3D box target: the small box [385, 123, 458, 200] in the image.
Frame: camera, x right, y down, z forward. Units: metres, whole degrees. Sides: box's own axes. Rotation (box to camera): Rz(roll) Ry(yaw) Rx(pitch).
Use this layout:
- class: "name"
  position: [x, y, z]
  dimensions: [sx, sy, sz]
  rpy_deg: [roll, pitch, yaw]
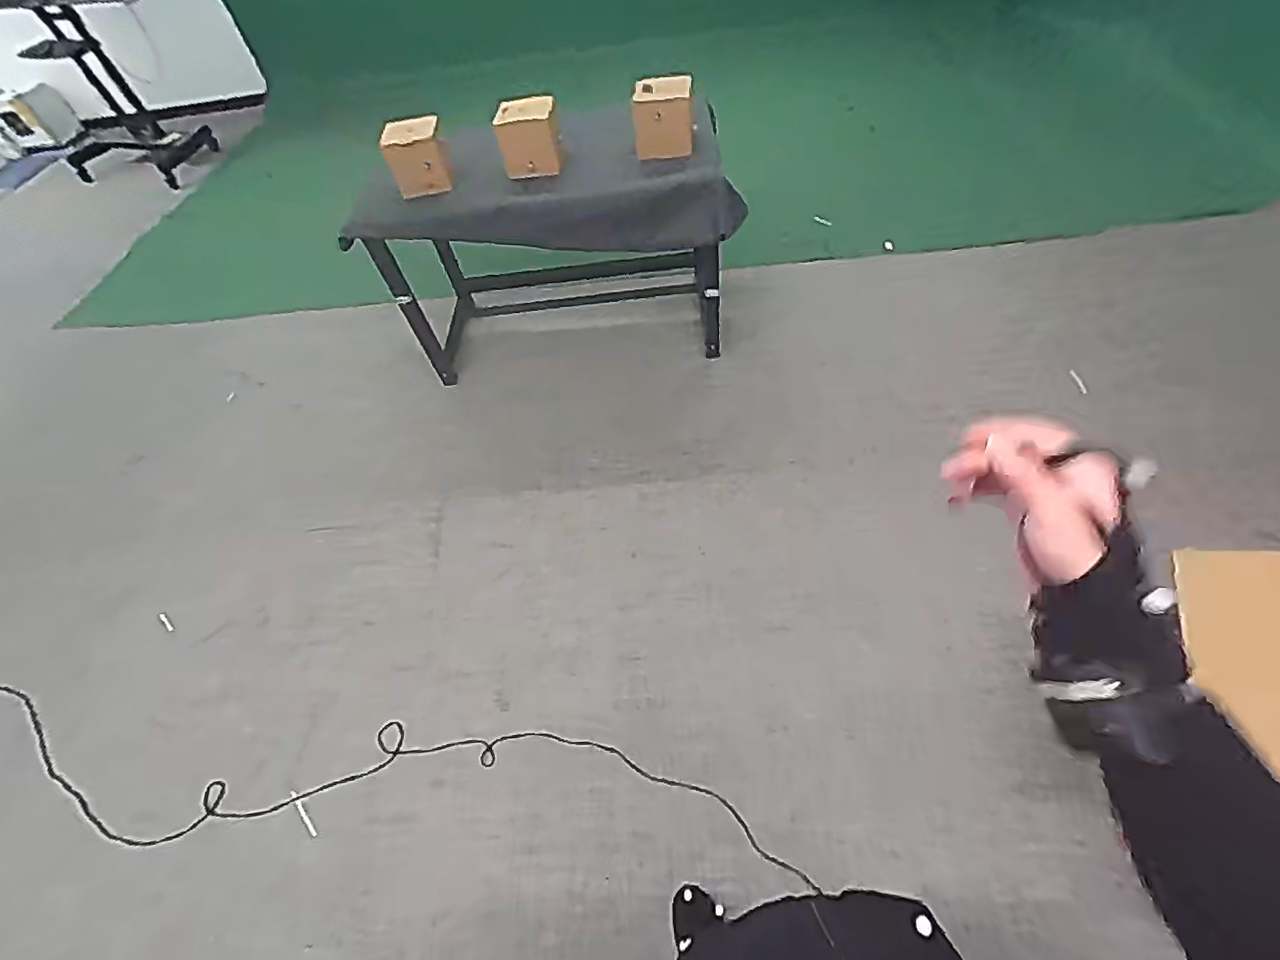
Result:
- class: "small box"
  position: [-0.710, -1.040, 1.778]
  dimensions: [0.168, 0.176, 0.179]
  rpy_deg: [-10, 51, -1]

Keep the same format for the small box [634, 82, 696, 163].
- class: "small box"
  position: [0.084, -1.140, 1.731]
  dimensions: [0.179, 0.176, 0.168]
  rpy_deg: [1, 55, 9]

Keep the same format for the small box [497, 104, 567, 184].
- class: "small box"
  position: [-0.344, -1.094, 1.764]
  dimensions: [0.179, 0.176, 0.168]
  rpy_deg: [-2, 54, 6]
